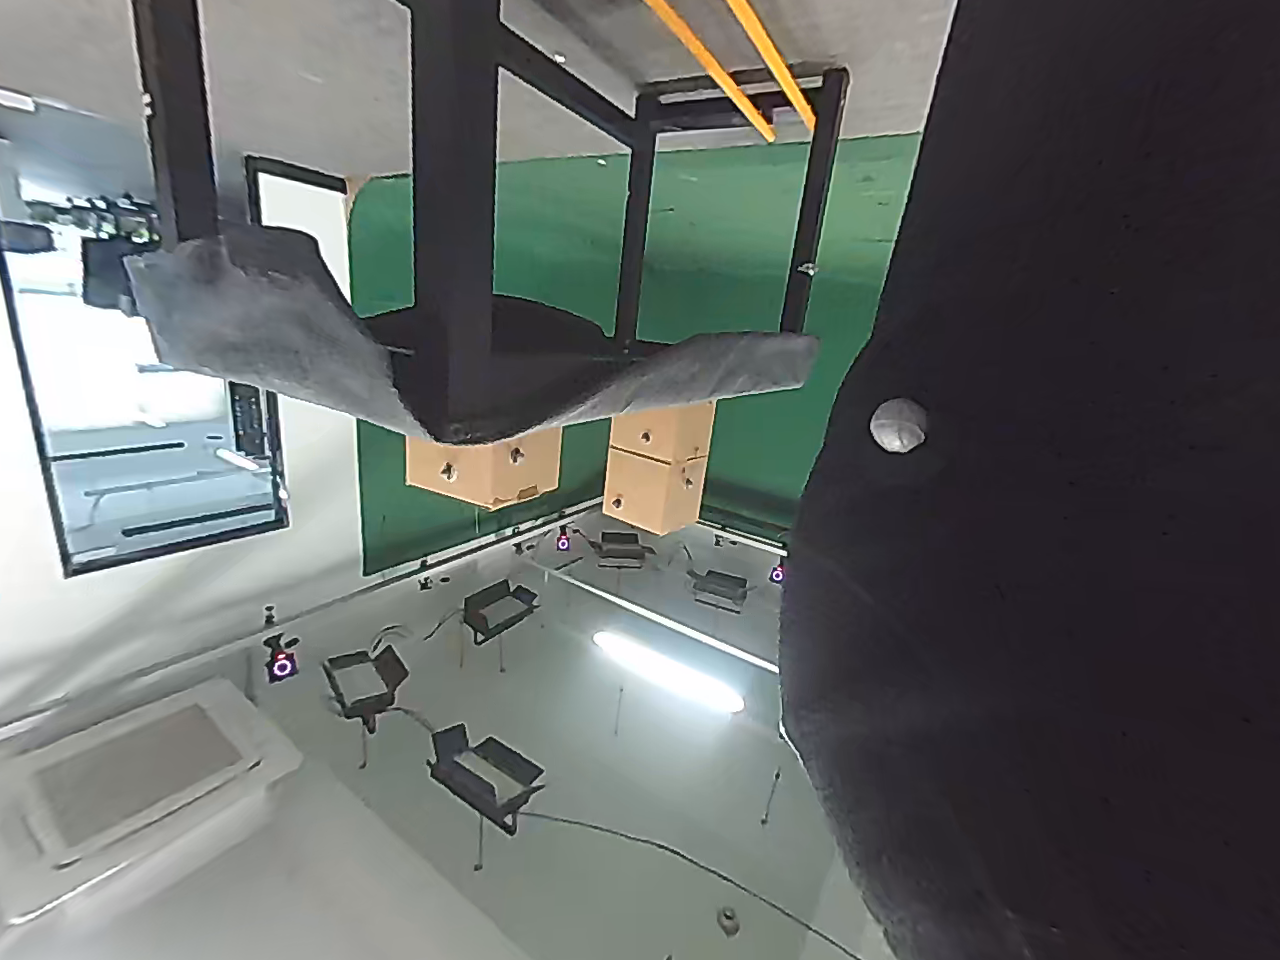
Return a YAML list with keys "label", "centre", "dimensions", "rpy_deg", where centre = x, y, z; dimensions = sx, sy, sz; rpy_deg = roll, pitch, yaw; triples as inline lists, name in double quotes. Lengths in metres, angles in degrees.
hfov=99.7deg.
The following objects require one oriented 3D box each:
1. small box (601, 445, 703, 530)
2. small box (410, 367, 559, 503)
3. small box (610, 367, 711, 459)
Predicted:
- label: "small box"
  centre: [0.031, -0.003, 1.283]
  dimensions: [0.179, 0.176, 0.168]
  rpy_deg: [18, -159, 34]
- label: "small box"
  centre: [-0.242, -0.080, 0.854]
  dimensions: [0.179, 0.176, 0.168]
  rpy_deg: [15, -162, 24]
- label: "small box"
  centre: [0.051, -0.159, 1.235]
  dimensions: [0.179, 0.176, 0.168]
  rpy_deg: [18, -160, 31]
